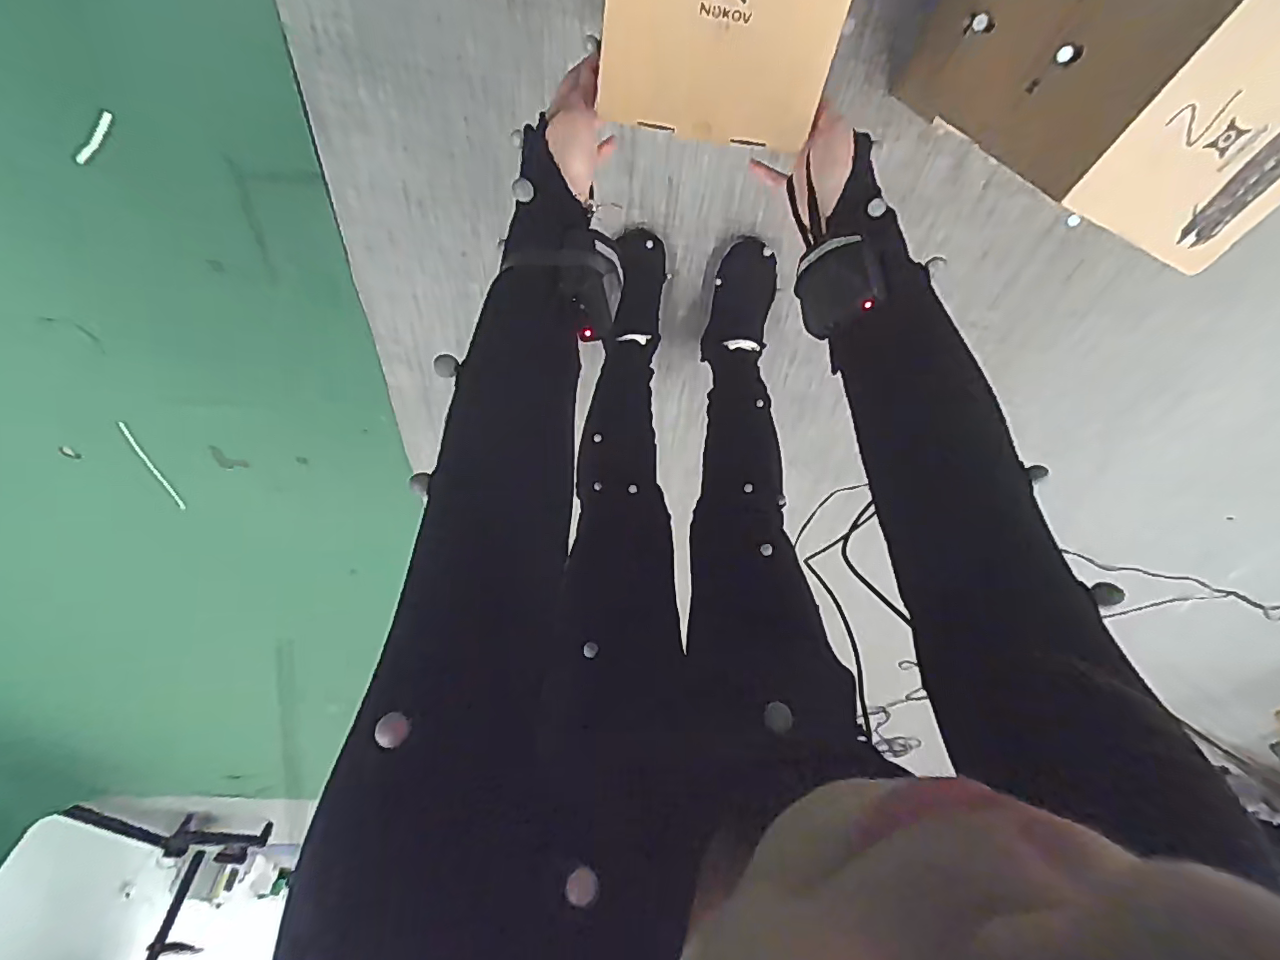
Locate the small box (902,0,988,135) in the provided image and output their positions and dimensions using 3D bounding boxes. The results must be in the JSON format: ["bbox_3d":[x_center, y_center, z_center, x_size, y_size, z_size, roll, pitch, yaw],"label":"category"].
[{"bbox_3d":[0.474,-0.556,0.696,0.168,0.176,0.179,11,136,-11],"label":"small box"}]

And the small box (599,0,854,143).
[{"bbox_3d":[0.061,-0.386,0.404,0.168,0.176,0.179,6,136,-6],"label":"small box"}]

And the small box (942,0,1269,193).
[{"bbox_3d":[0.457,-0.449,0.573,0.168,0.176,0.179,14,135,-14],"label":"small box"}]
